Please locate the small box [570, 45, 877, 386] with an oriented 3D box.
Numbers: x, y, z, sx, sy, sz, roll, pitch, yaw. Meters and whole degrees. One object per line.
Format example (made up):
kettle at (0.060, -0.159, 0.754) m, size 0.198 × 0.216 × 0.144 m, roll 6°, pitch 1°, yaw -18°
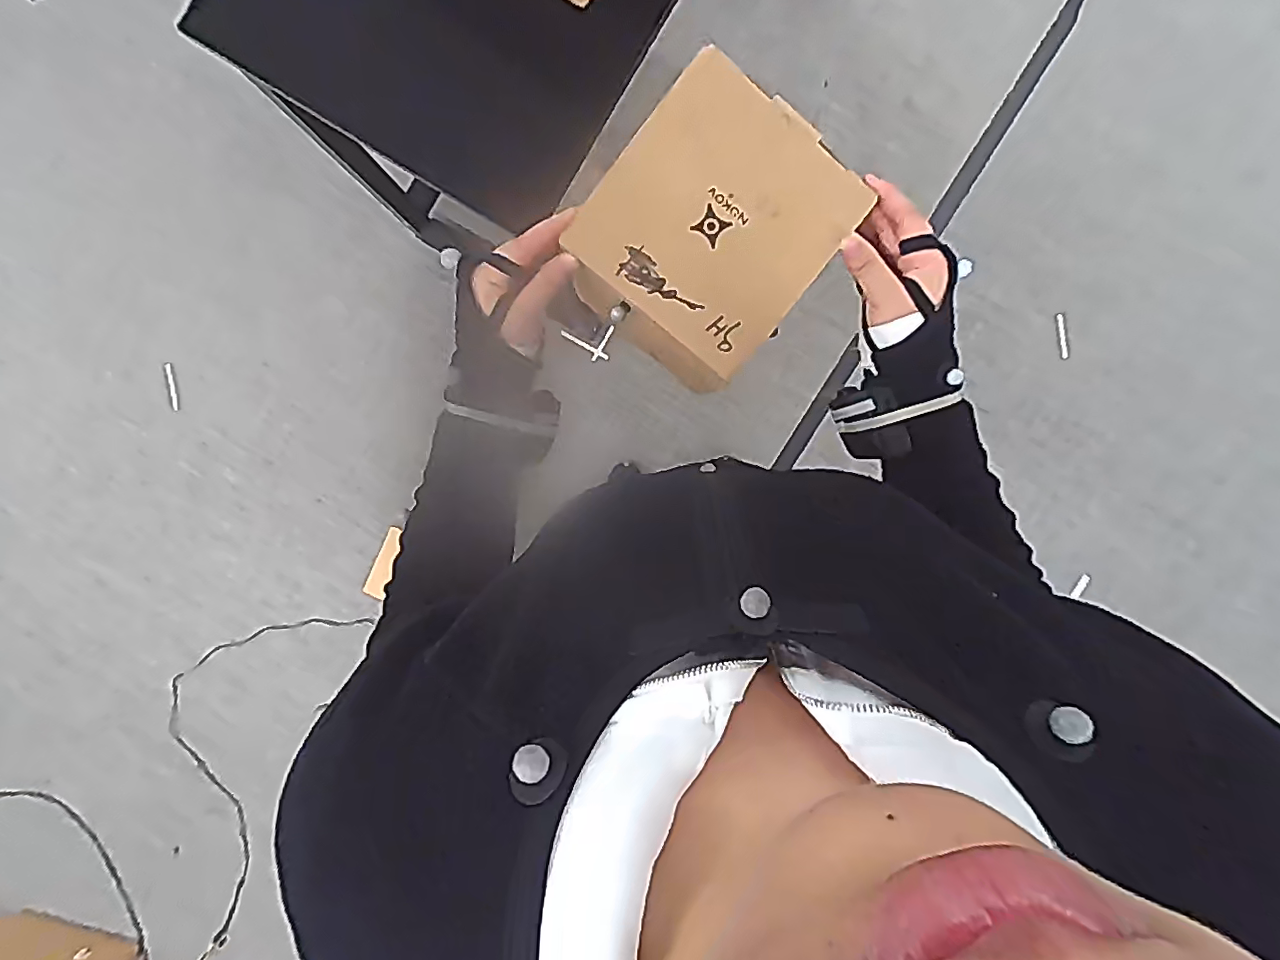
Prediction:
small box at (0.057, -0.203, 0.475) m, size 0.168 × 0.176 × 0.179 m, roll 39°, pitch 93°, yaw -5°
